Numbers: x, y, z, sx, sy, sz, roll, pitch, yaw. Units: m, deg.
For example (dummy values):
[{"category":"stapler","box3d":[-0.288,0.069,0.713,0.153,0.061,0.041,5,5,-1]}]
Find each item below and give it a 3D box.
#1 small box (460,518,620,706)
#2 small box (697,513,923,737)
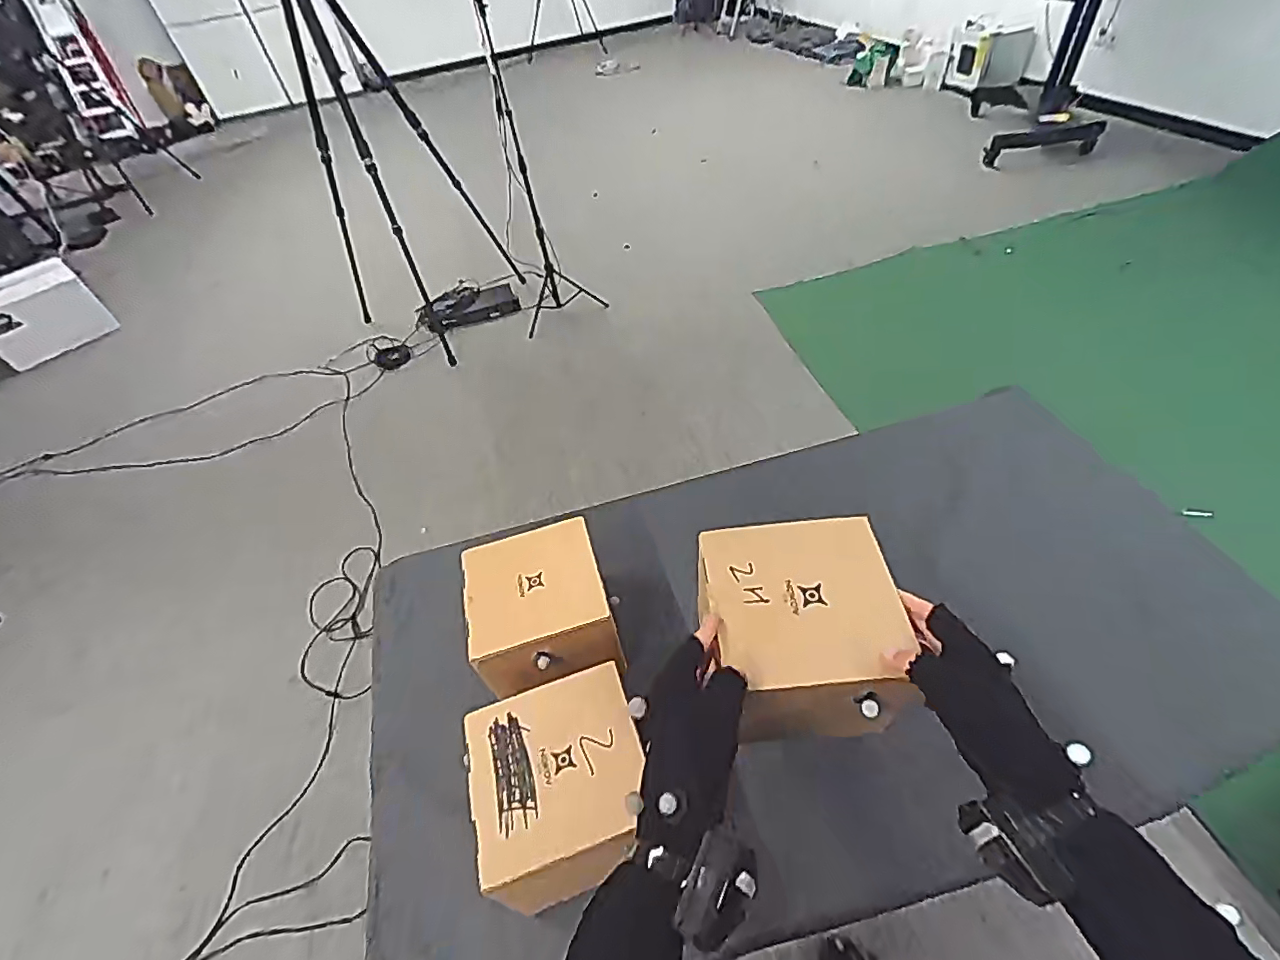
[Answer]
[{"category":"small box","box3d":[-0.132,0.185,0.749,0.179,0.176,0.168,-17,48,-5]},{"category":"small box","box3d":[0.154,0.155,0.564,0.179,0.176,0.168,-6,49,2]}]
